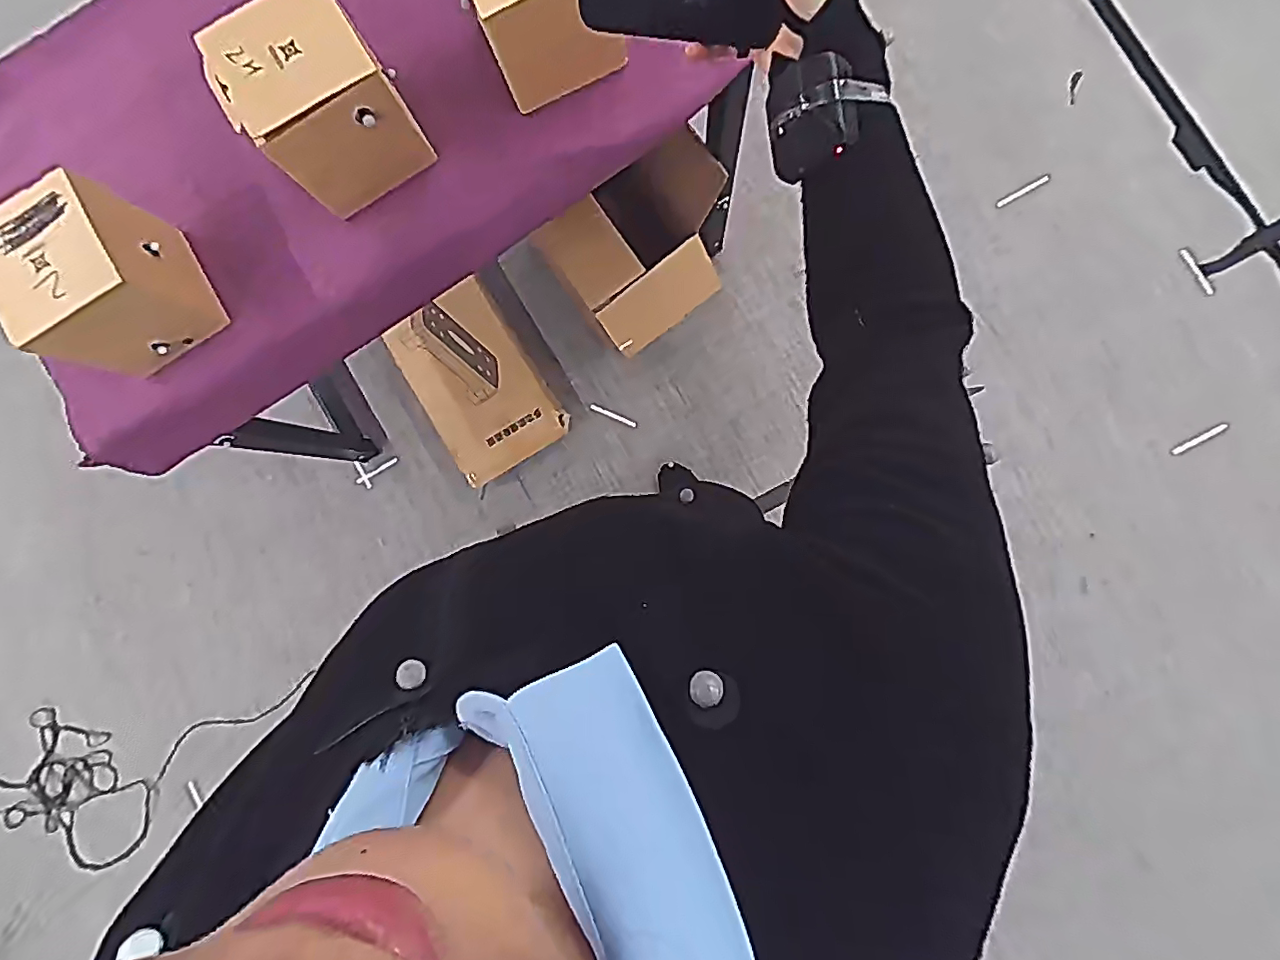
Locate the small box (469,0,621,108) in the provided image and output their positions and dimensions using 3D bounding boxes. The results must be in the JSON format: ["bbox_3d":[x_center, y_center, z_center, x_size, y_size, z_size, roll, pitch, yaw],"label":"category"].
[{"bbox_3d":[-0.138,-0.651,0.721,0.179,0.176,0.168,-24,87,2],"label":"small box"}]

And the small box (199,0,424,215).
[{"bbox_3d":[-0.422,-0.507,0.732,0.179,0.176,0.168,-31,84,2],"label":"small box"}]
